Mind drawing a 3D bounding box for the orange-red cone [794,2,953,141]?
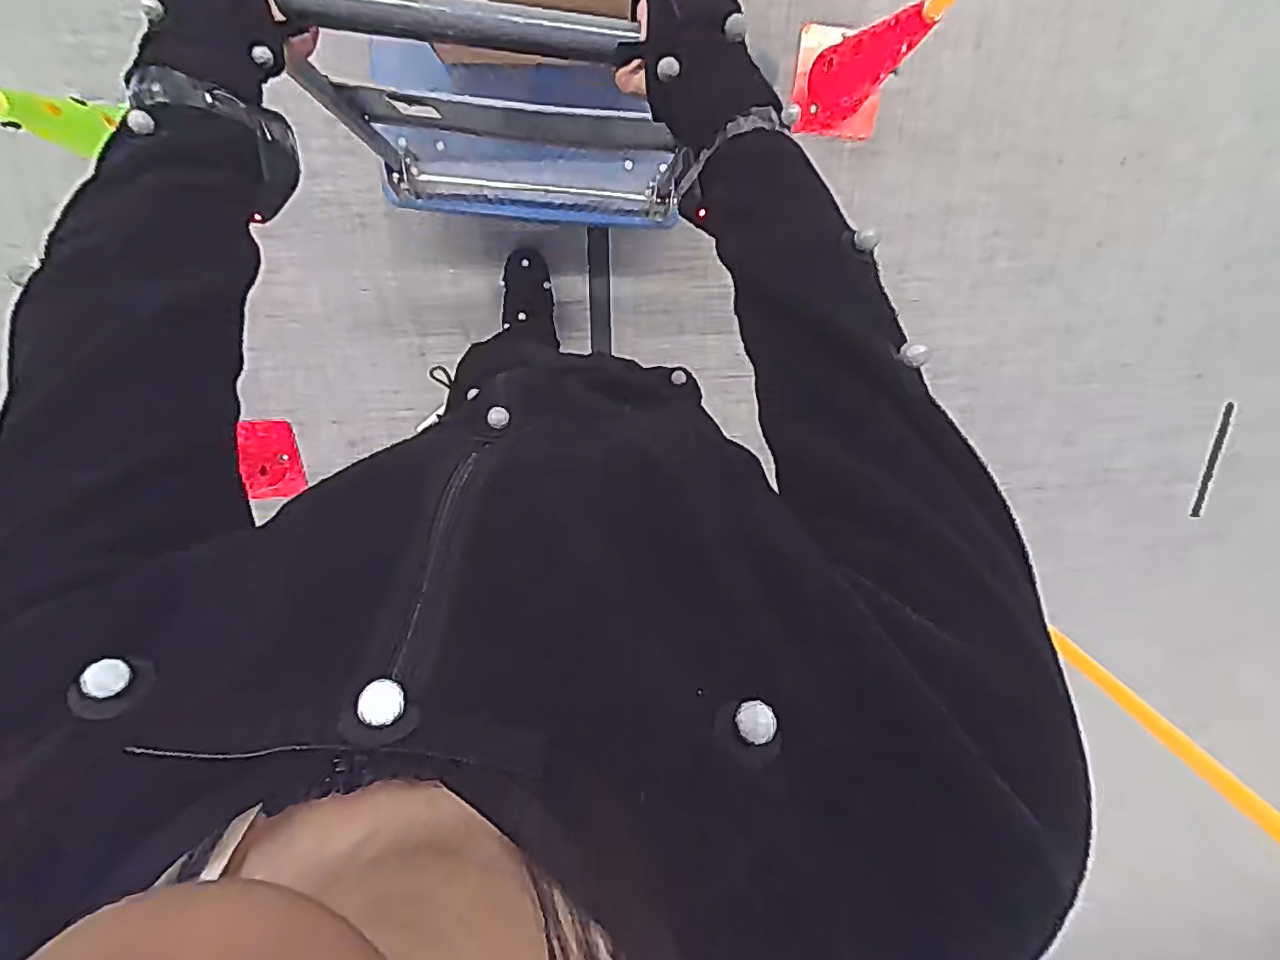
[{"bbox_3d":[0.467,-0.809,1.030,0.199,0.360,0.198,3,110,-8],"label":"orange-red cone"}]
